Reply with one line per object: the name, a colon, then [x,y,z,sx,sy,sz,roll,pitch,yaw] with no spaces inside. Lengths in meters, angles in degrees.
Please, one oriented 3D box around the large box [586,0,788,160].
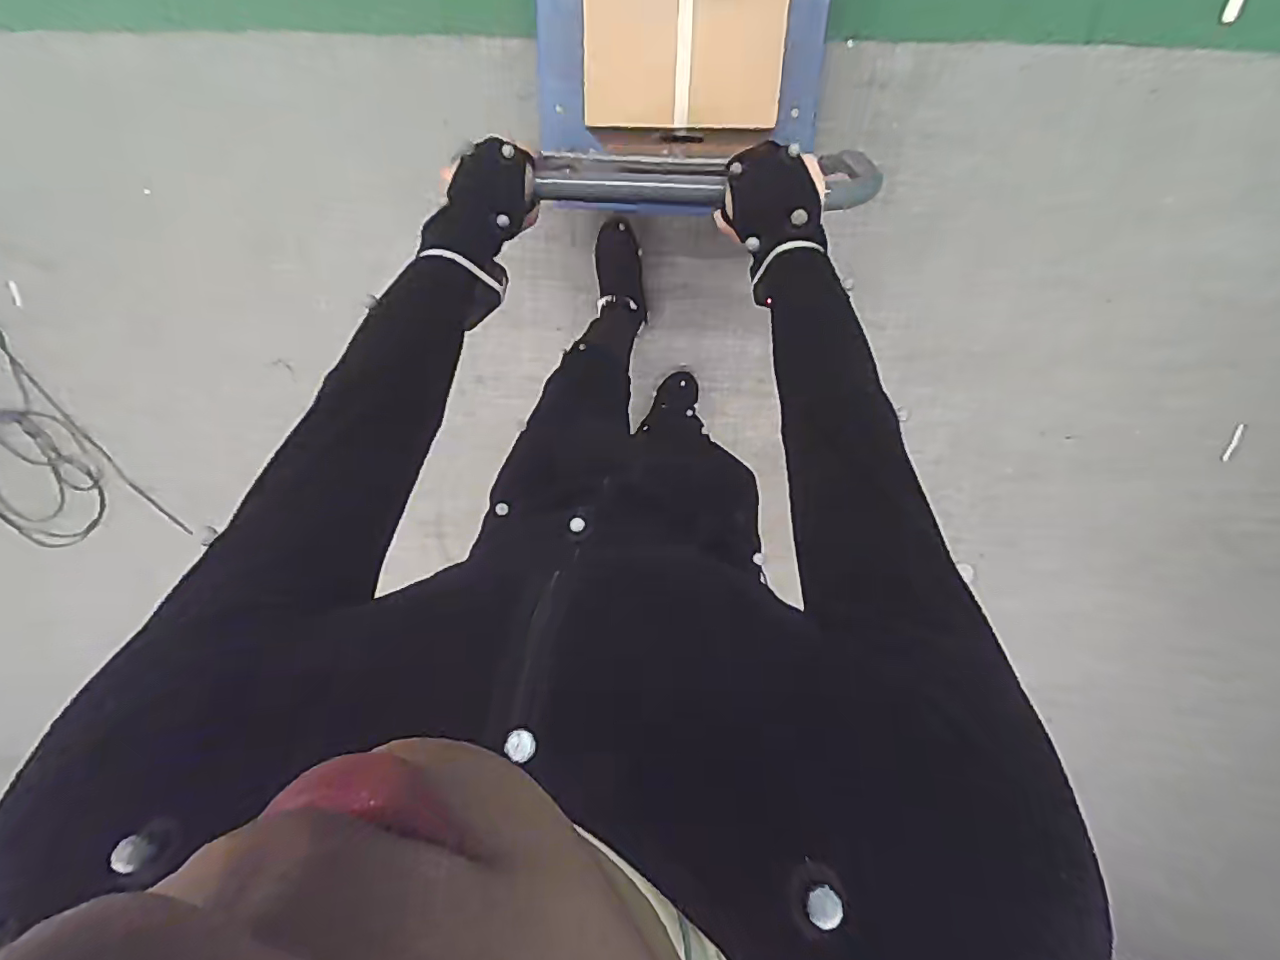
large box: [0.085,-0.819,0.954,0.320,0.320,0.408,3,112,3]
